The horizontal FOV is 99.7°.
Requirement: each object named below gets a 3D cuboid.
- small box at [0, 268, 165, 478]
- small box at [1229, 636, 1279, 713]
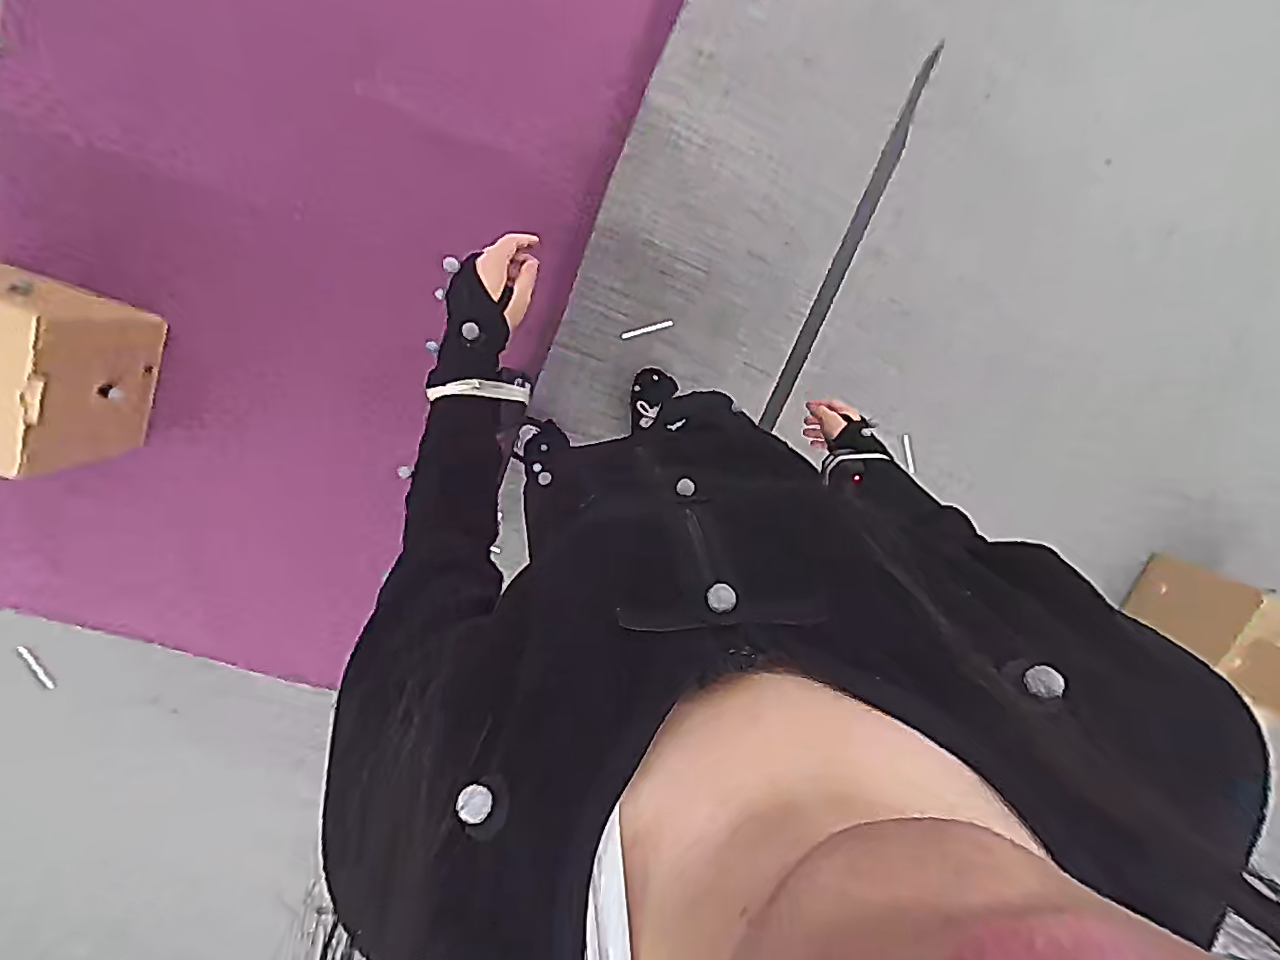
[{"bbox_3d":[-0.653,-0.122,0.563,0.179,0.176,0.168,18,101,-13],"label":"small box"},{"bbox_3d":[1.805,0.559,1.485,0.168,0.176,0.179,19,102,-10],"label":"small box"}]
